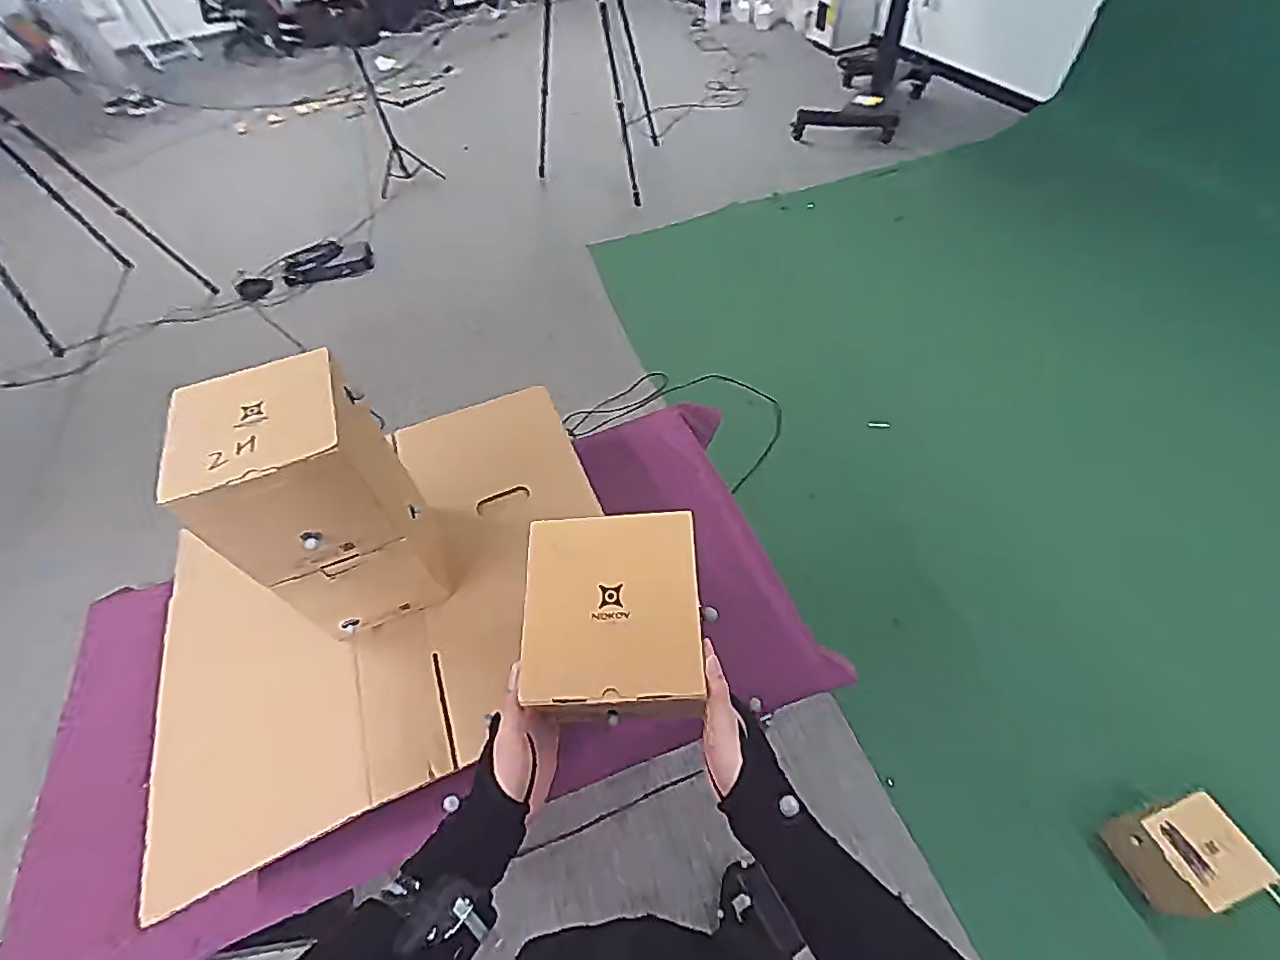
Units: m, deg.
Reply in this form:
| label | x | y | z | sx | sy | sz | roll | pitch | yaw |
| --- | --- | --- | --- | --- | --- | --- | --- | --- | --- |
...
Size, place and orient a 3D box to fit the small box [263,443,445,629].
| label | x | y | z | sx | sy | sz | roll | pitch | yaw |
| --- | --- | --- | --- | --- | --- | --- | --- | --- | --- |
| small box | -0.387 | 0.085 | 0.749 | 0.168 | 0.176 | 0.179 | -20 | 53 | -12 |

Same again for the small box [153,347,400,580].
| label | x | y | z | sx | sy | sz | roll | pitch | yaw |
| --- | --- | --- | --- | --- | --- | --- | --- | --- | --- |
| small box | -0.397 | -0.017 | 0.620 | 0.168 | 0.176 | 0.179 | -21 | 55 | -12 |

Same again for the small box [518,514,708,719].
| label | x | y | z | sx | sy | sz | roll | pitch | yaw |
| --- | --- | --- | --- | --- | --- | --- | --- | --- | --- |
| small box | -0.019 | 0.150 | 0.569 | 0.168 | 0.176 | 0.179 | -3 | 64 | 4 |
